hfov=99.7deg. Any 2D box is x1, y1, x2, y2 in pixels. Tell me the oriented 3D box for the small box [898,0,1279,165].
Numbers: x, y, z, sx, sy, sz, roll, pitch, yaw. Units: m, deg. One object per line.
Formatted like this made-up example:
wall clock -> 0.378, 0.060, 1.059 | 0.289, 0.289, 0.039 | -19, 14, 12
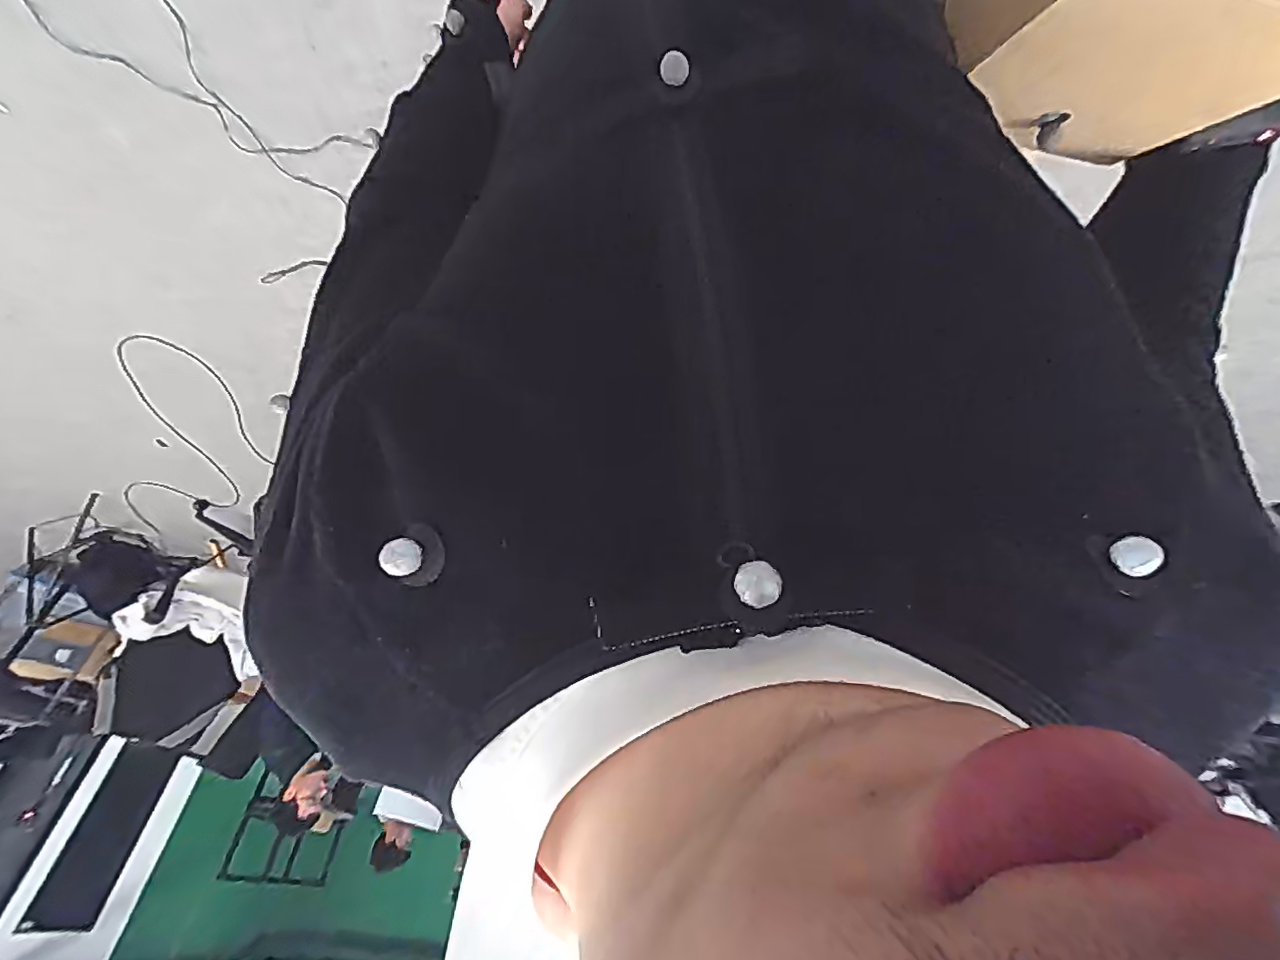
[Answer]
small box -> 0.302, -0.323, 0.337 | 0.179, 0.176, 0.168 | 7, 100, -7
